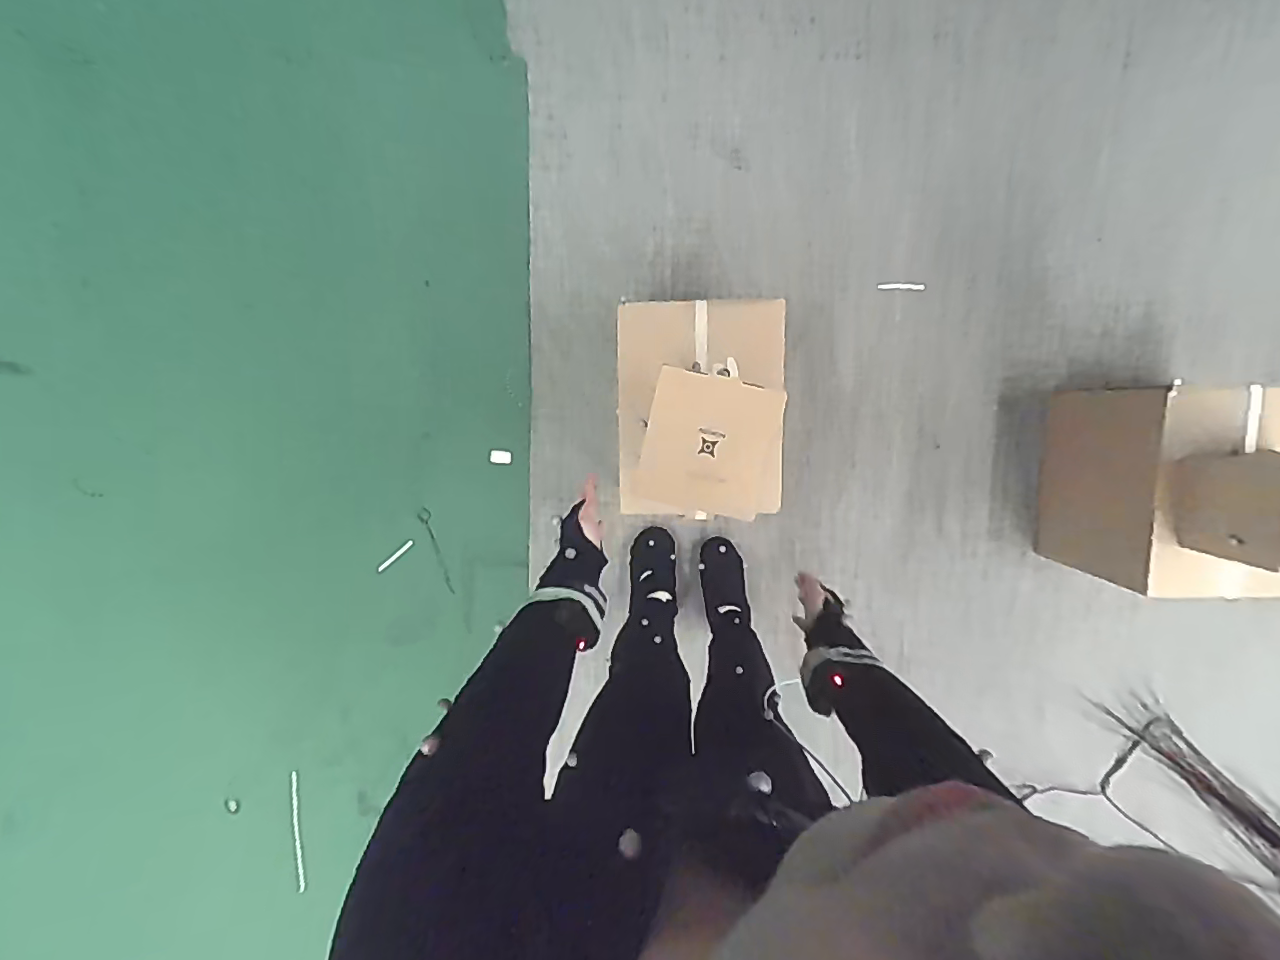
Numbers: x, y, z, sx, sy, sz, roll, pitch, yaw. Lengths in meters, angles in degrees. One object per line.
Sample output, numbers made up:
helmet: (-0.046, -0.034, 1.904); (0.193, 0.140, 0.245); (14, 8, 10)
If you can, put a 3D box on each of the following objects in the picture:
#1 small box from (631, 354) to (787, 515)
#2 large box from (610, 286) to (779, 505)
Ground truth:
small box: (0.088, -0.068, 0.762); (0.168, 0.176, 0.179); (13, 100, 1)
large box: (0.110, -0.170, 1.157); (0.320, 0.320, 0.408); (-1, 98, 1)
